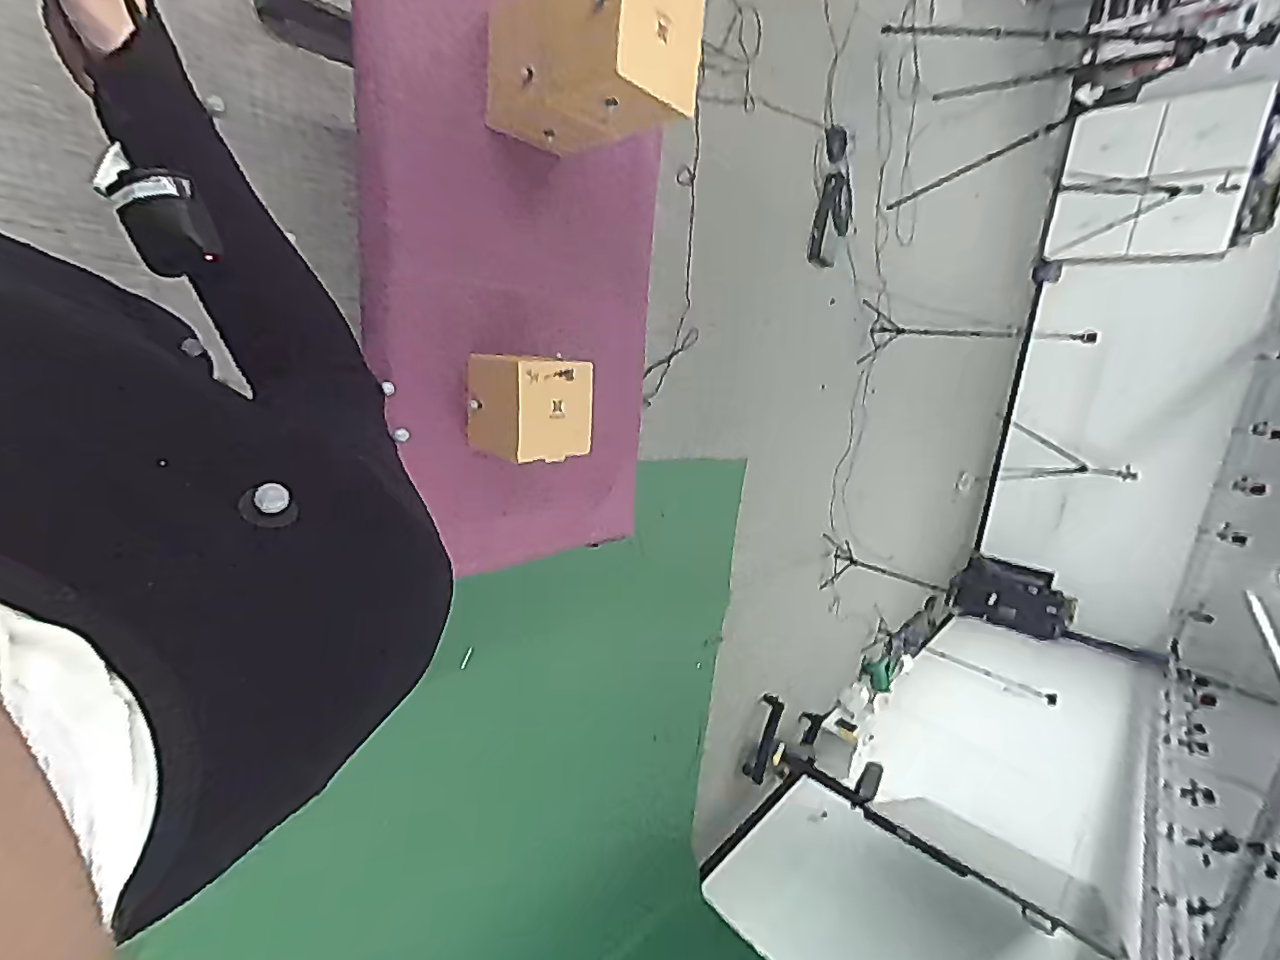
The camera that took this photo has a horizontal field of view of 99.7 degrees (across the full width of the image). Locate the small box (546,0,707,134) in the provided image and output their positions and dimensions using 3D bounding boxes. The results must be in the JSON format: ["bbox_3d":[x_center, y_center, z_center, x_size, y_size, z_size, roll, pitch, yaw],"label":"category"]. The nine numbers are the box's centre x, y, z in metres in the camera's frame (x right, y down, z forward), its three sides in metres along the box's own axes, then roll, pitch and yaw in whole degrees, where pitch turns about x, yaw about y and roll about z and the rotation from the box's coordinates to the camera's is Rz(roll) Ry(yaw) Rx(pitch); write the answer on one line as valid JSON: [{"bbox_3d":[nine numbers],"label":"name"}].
[{"bbox_3d":[-0.025,-0.646,0.802,0.168,0.176,0.179,-8,109,-45],"label":"small box"}]

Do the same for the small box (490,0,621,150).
[{"bbox_3d":[-0.138,-0.685,0.911,0.168,0.176,0.179,-8,110,-46],"label":"small box"}]

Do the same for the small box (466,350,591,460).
[{"bbox_3d":[-0.214,-0.146,1.019,0.168,0.176,0.179,-10,111,-46],"label":"small box"}]
